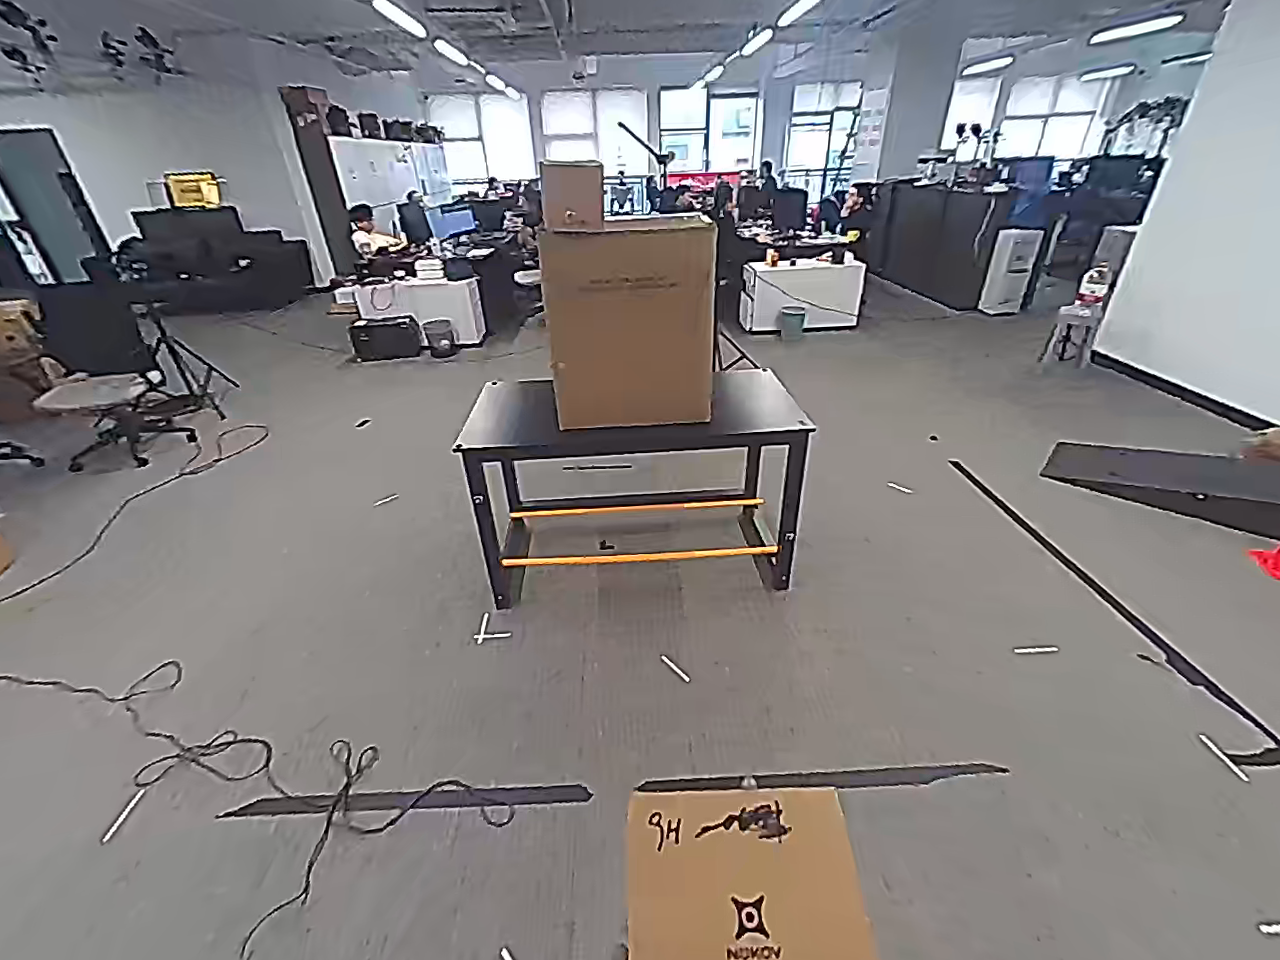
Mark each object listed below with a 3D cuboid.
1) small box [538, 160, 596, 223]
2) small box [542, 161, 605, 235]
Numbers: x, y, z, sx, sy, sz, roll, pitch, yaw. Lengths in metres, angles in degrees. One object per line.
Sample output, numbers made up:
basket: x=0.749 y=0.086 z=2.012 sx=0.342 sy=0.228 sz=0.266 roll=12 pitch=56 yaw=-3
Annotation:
small box: x=-0.219 y=-0.906 z=1.702 sx=0.168 sy=0.176 sz=0.179 roll=-2 pitch=31 yaw=1
small box: x=-0.188 y=-0.806 z=1.540 sx=0.168 sy=0.176 sz=0.179 roll=-4 pitch=35 yaw=-7
